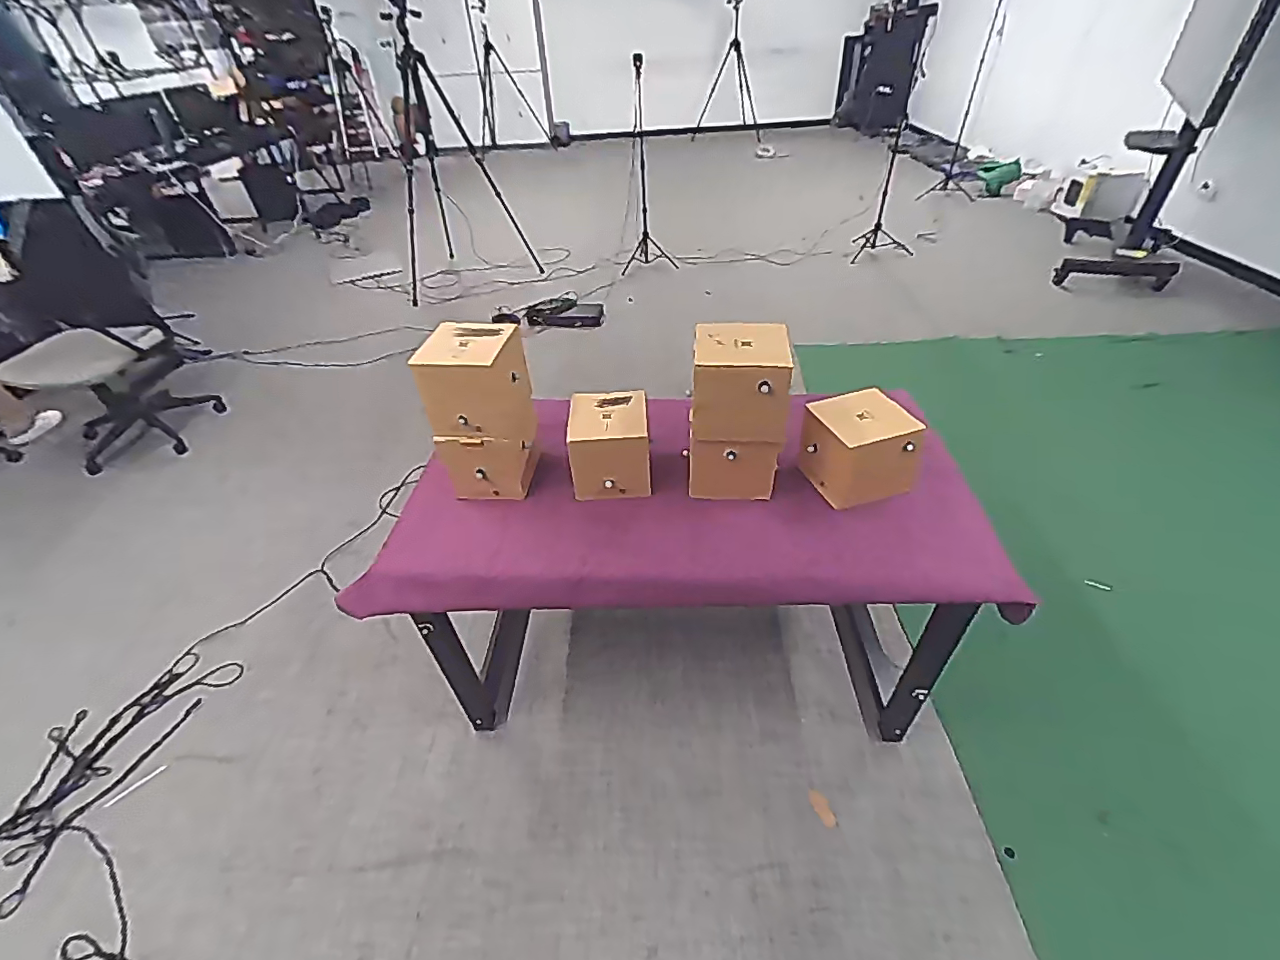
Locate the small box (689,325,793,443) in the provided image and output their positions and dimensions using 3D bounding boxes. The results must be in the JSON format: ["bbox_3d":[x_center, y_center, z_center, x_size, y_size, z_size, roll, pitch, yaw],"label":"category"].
[{"bbox_3d":[0.190,-0.185,1.049,0.179,0.176,0.168,3,41,7],"label":"small box"}]

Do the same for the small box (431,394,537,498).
[{"bbox_3d":[-0.335,-0.075,1.203,0.168,0.176,0.179,1,42,4],"label":"small box"}]

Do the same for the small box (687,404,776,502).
[{"bbox_3d":[0.191,-0.066,1.163,0.179,0.176,0.168,3,42,6],"label":"small box"}]

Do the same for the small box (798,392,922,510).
[{"bbox_3d":[0.449,-0.059,1.139,0.179,0.176,0.168,-13,41,-12],"label":"small box"}]

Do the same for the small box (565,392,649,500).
[{"bbox_3d":[-0.067,-0.075,1.185,0.168,0.176,0.179,-3,41,1],"label":"small box"}]
